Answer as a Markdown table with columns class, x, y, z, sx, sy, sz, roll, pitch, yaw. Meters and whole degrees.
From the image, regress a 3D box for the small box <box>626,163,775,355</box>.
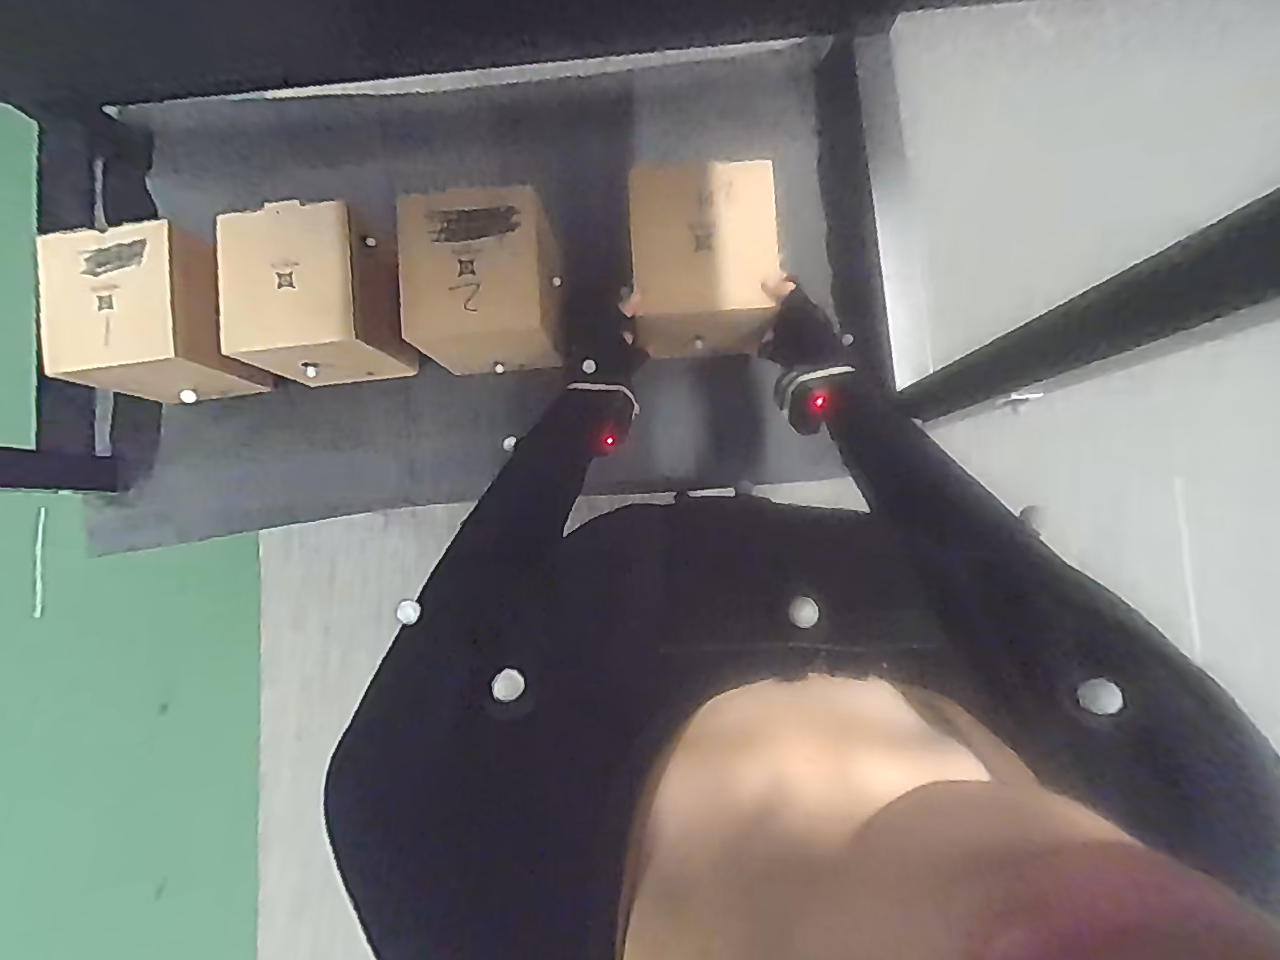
| class | x | y | z | sx | sy | sz | roll | pitch | yaw |
| --- | --- | --- | --- | --- | --- | --- | --- | --- | --- |
| small box | 0.071 | -0.264 | 0.687 | 0.168 | 0.176 | 0.179 | -2 | 85 | 2 |

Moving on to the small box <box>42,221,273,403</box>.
| class | x | y | z | sx | sy | sz | roll | pitch | yaw |
| --- | --- | --- | --- | --- | --- | --- | --- | --- | --- |
| small box | -0.634 | -0.215 | 0.730 | 0.168 | 0.176 | 0.179 | -6 | 85 | 2 |
